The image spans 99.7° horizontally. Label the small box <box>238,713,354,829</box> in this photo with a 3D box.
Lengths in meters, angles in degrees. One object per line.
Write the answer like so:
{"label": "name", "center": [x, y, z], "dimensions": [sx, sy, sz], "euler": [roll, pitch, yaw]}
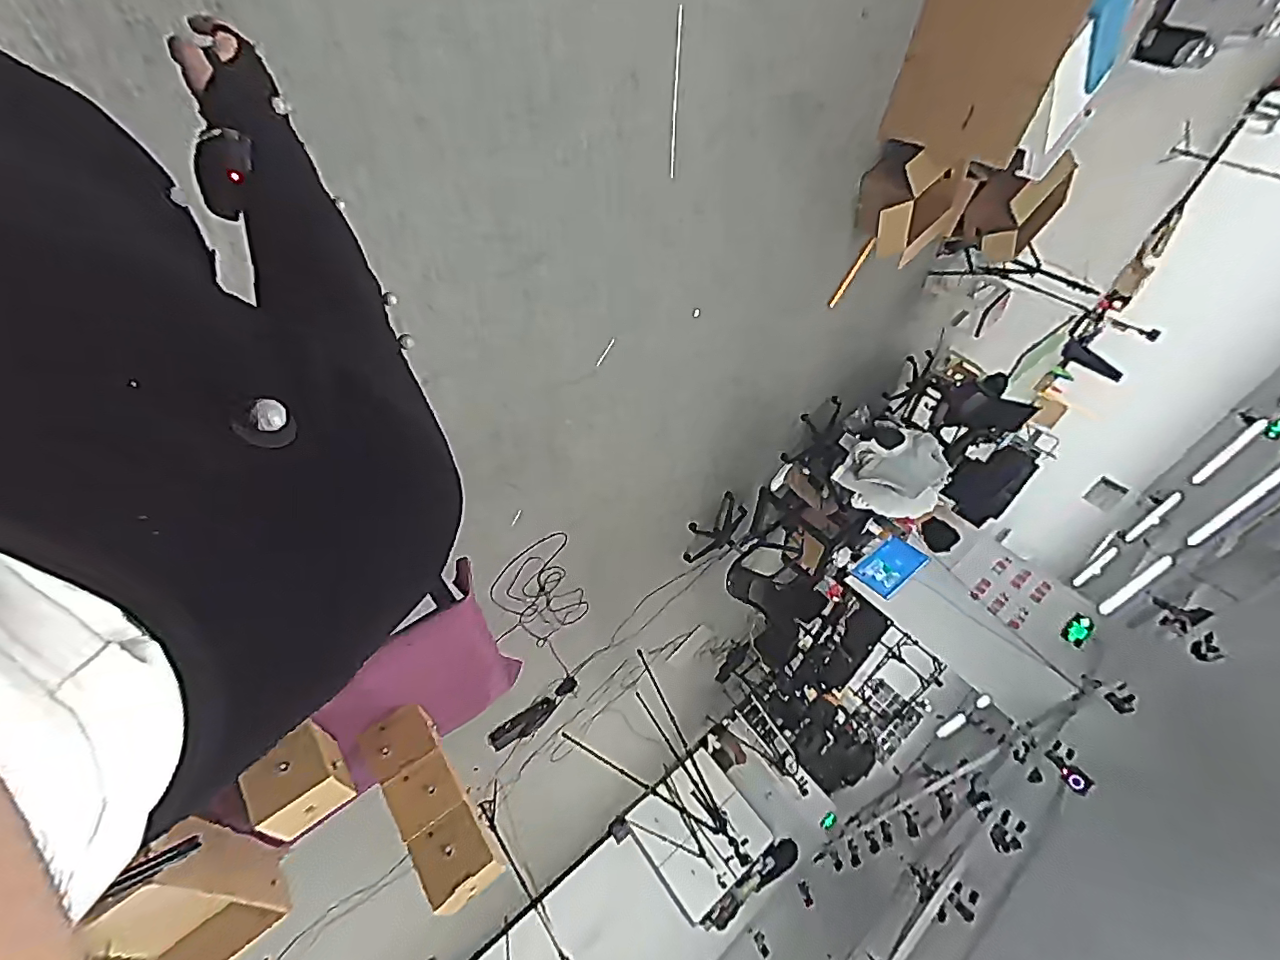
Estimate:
{"label": "small box", "center": [-0.836, 0.701, 1.316], "dimensions": [0.168, 0.176, 0.179], "euler": [-29, 146, -26]}

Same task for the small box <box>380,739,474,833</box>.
{"label": "small box", "center": [-0.586, 0.848, 1.488], "dimensions": [0.168, 0.176, 0.179], "euler": [-30, 147, -25]}

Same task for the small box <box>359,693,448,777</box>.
{"label": "small box", "center": [-0.687, 0.754, 1.573], "dimensions": [0.168, 0.176, 0.179], "euler": [-30, 146, -25]}

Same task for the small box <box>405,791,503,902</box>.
{"label": "small box", "center": [-0.484, 0.949, 1.409], "dimensions": [0.168, 0.176, 0.179], "euler": [-30, 146, -24]}
